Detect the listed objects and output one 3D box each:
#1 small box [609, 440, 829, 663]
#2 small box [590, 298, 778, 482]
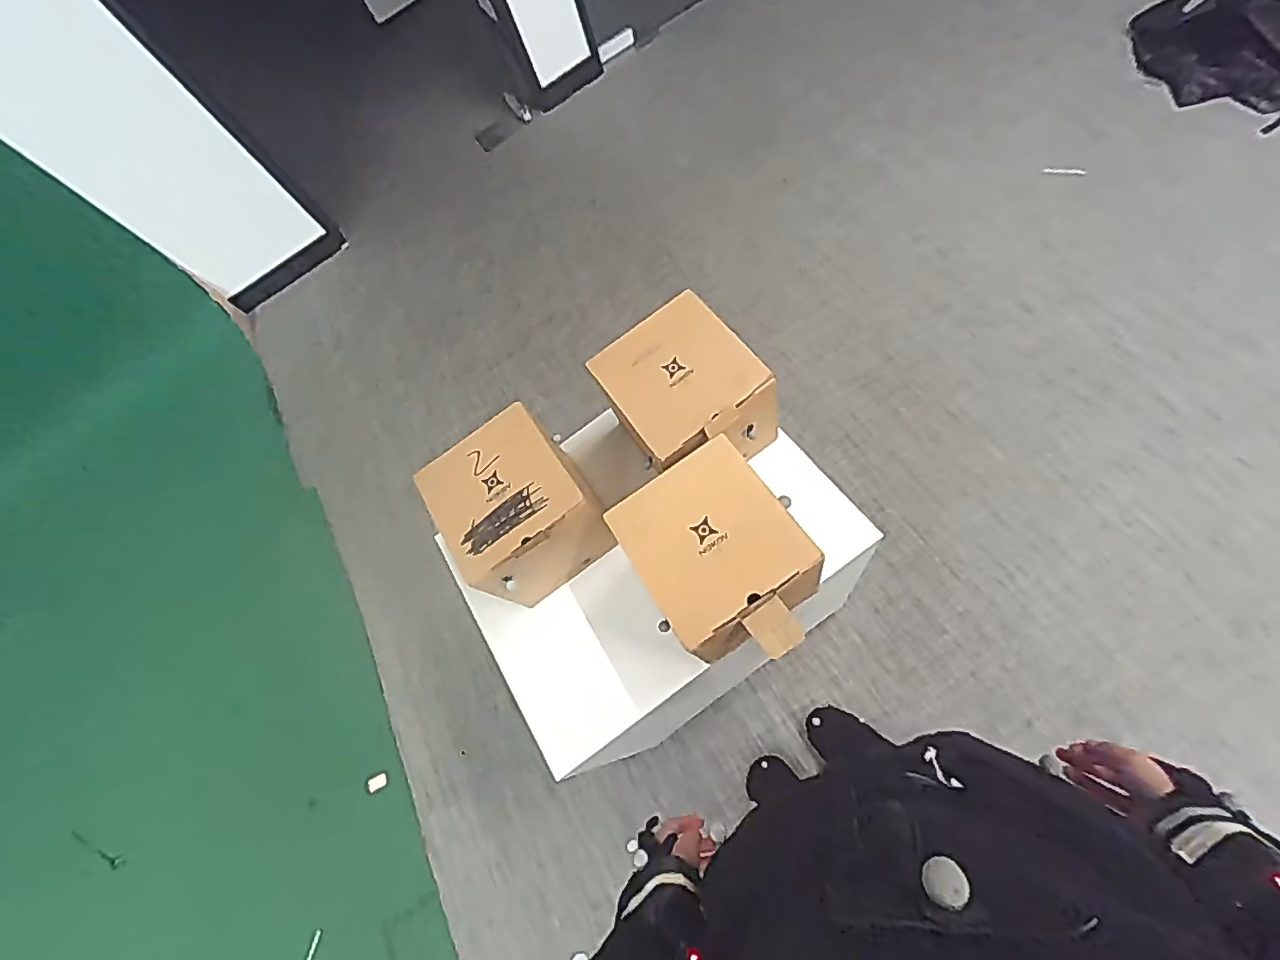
[{"bbox_3d":[0.092,0.092,0.630,0.168,0.176,0.179,-35,63,-1],"label":"small box"},{"bbox_3d":[0.066,-0.093,0.714,0.168,0.176,0.179,-36,63,-2],"label":"small box"}]
